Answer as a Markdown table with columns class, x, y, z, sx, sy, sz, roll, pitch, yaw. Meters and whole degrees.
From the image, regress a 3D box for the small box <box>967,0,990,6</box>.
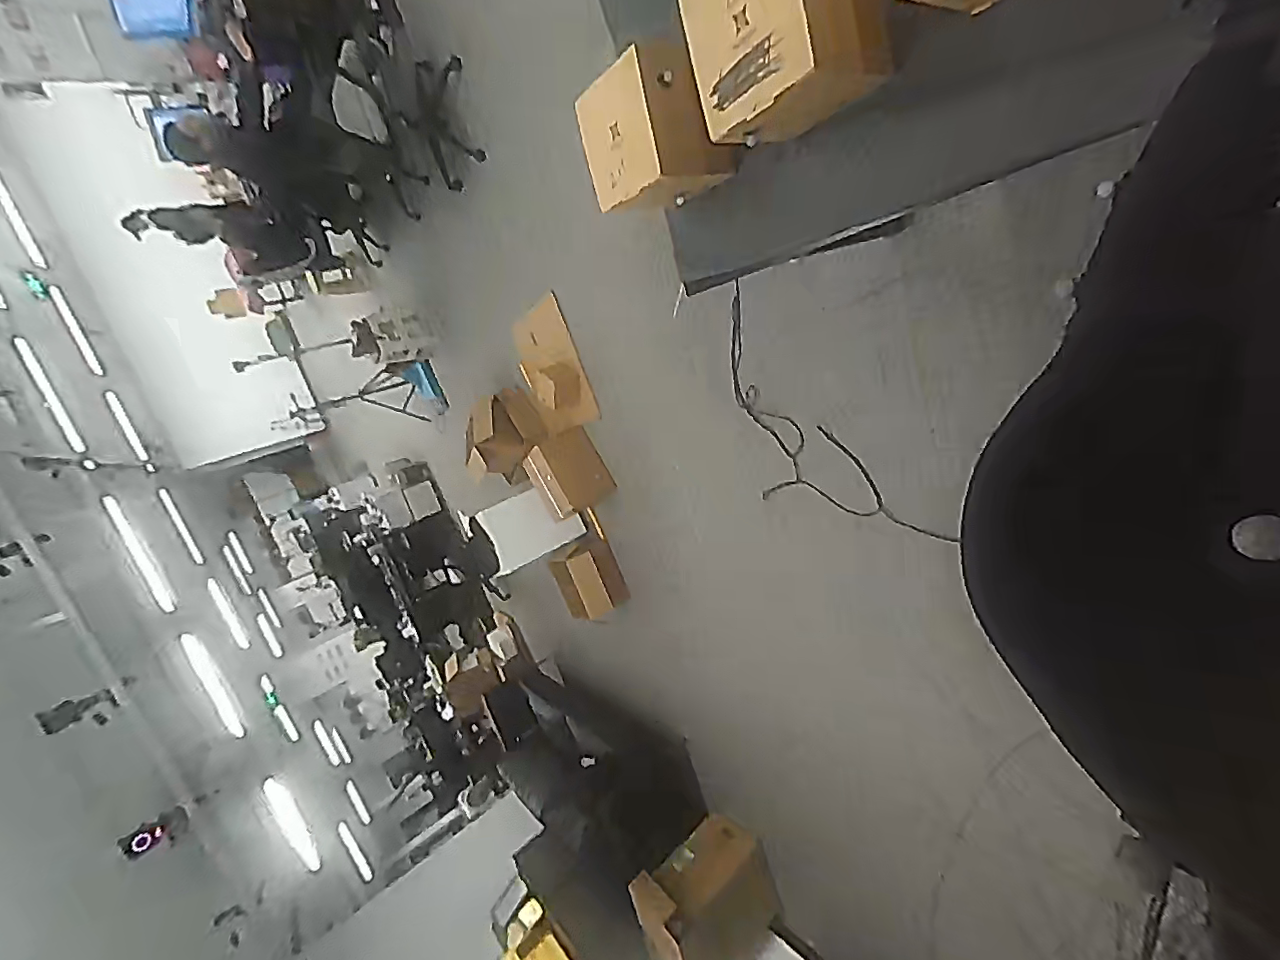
| class | x | y | z | sx | sy | sz | roll | pitch | yaw |
| --- | --- | --- | --- | --- | --- | --- | --- | --- | --- |
| small box | 0.325 | -0.565 | 0.469 | 0.168 | 0.176 | 0.179 | 0 | 112 | 54 |

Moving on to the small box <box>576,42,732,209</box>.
| class | x | y | z | sx | sy | sz | roll | pitch | yaw |
| --- | --- | --- | --- | --- | --- | --- | --- | --- | --- |
| small box | 0.026 | -0.561 | 0.880 | 0.168 | 0.176 | 0.179 | 6 | 115 | 53 |
